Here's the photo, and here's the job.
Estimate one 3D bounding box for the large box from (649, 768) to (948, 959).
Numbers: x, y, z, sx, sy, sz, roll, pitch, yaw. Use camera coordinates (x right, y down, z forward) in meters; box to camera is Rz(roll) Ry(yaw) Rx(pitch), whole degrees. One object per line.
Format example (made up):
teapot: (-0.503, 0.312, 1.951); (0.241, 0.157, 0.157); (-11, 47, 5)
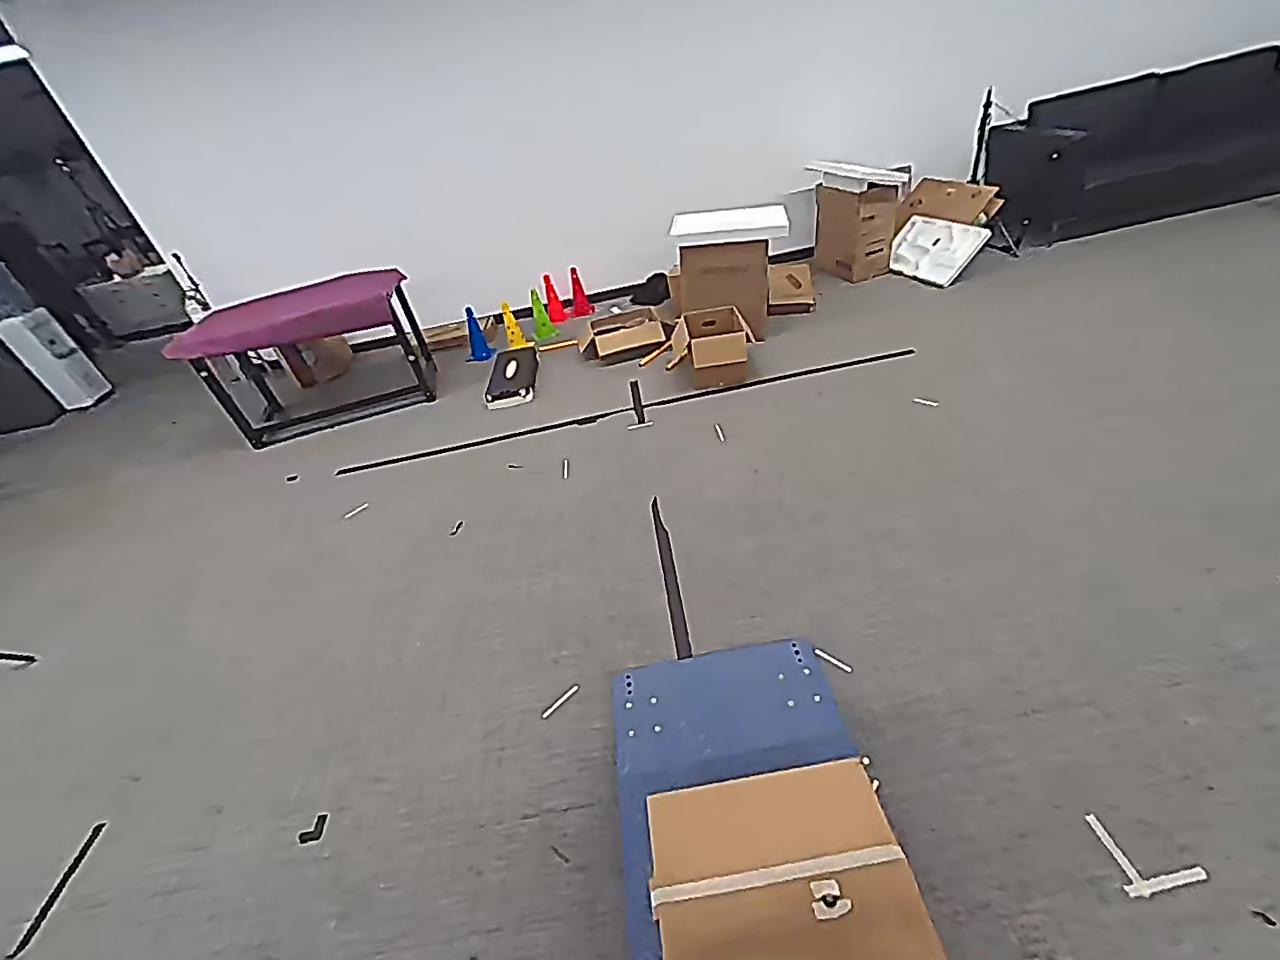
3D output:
large box: (0.247, 0.764, 0.941); (0.408, 0.320, 0.320); (-11, 37, 0)
